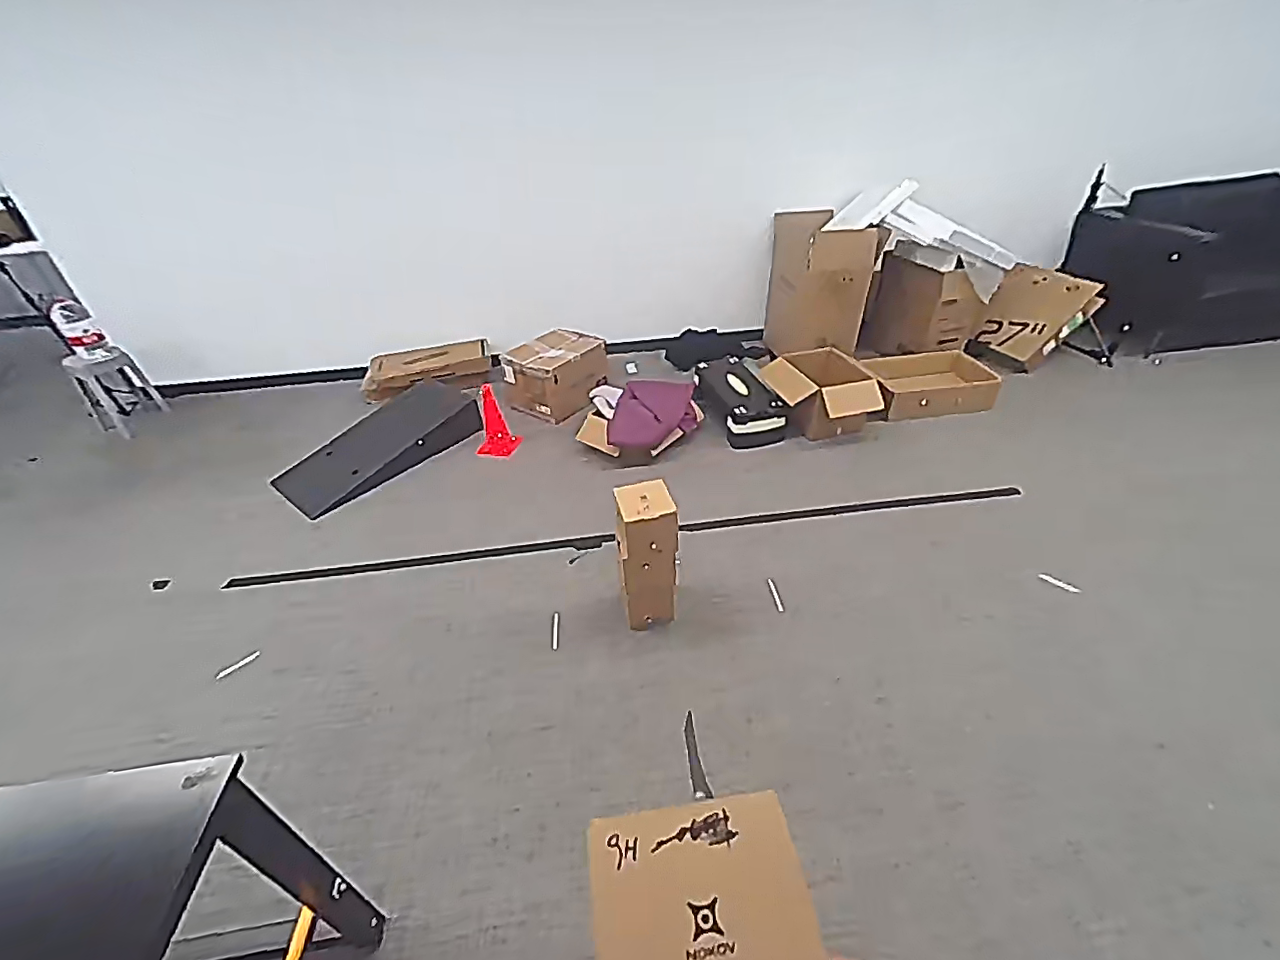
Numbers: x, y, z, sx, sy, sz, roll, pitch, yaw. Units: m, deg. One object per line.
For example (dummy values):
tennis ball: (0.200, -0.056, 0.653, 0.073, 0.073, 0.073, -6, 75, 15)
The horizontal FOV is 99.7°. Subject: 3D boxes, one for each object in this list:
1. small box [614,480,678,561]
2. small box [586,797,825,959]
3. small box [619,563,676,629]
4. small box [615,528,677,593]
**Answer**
small box: (0.019, 0.129, 1.713, 0.168, 0.176, 0.179, -12, 37, -9)
small box: (0.049, 0.391, 0.437, 0.168, 0.176, 0.179, -6, 41, -5)
small box: (0.025, 0.394, 1.910, 0.168, 0.176, 0.179, -11, 38, -8)
small box: (0.020, 0.260, 1.814, 0.179, 0.176, 0.168, -9, 37, -7)
